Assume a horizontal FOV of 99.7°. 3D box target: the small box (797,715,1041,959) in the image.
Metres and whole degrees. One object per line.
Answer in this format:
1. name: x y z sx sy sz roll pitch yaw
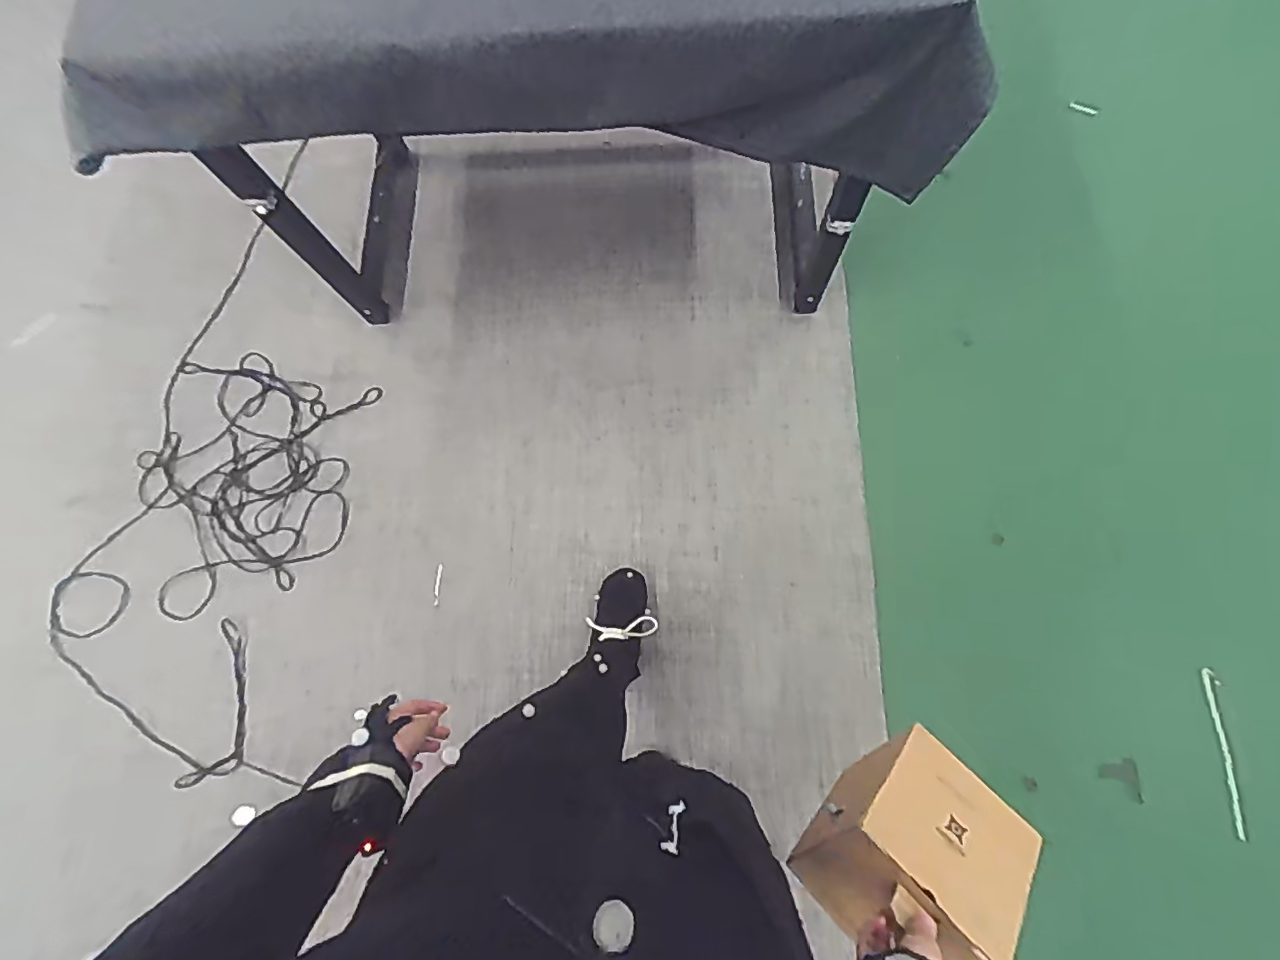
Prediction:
1. small box: 0.311 0.422 0.627 0.168 0.176 0.179 43 44 21
